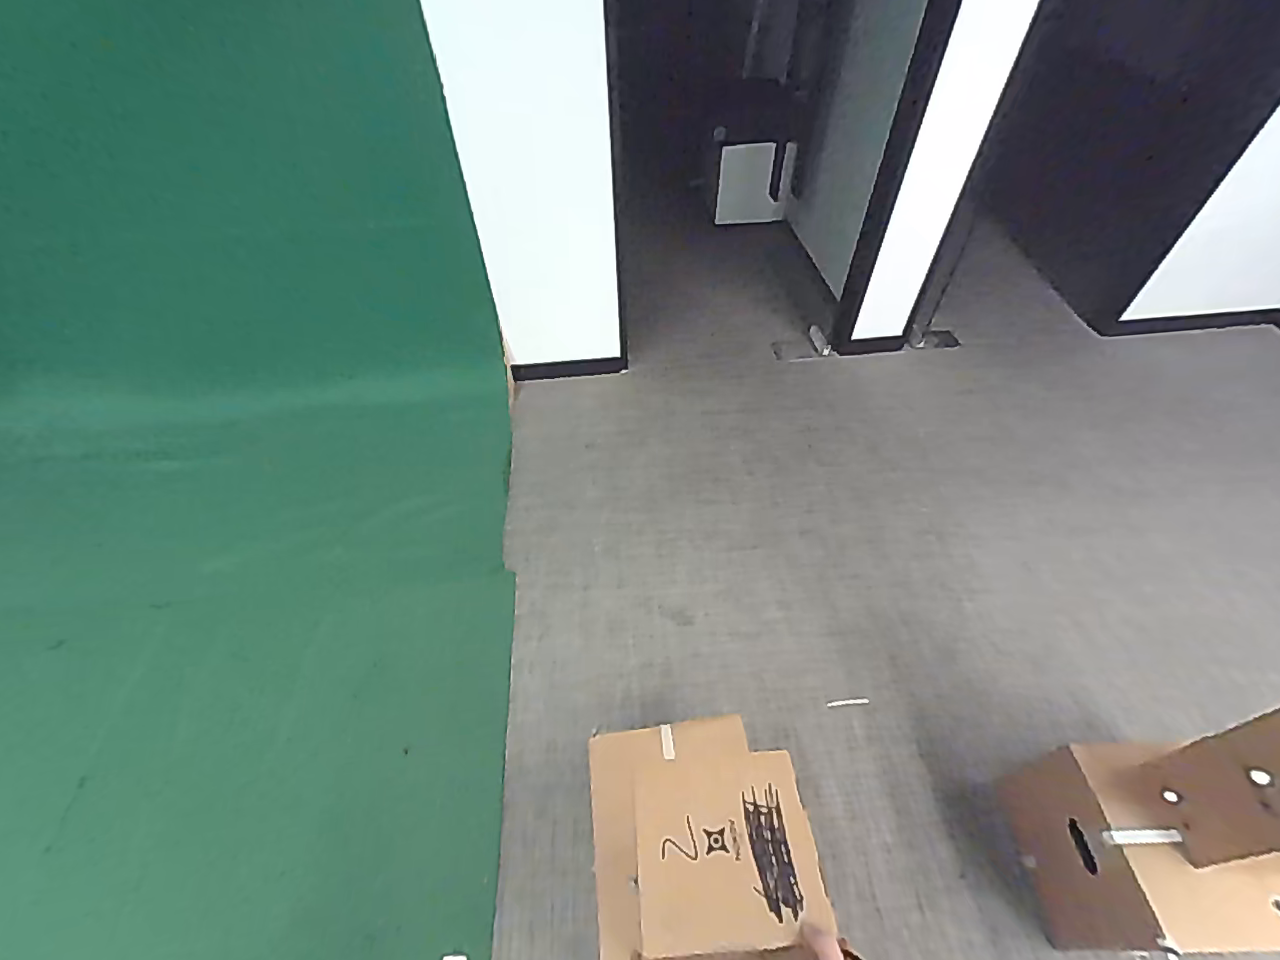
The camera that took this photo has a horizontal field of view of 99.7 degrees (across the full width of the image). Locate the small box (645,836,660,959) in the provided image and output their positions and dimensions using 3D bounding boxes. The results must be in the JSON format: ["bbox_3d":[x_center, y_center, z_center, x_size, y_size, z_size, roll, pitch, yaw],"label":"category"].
[{"bbox_3d":[0.098,0.653,0.826,0.168,0.176,0.179,-4,47,-3],"label":"small box"}]

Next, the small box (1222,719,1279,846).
[{"bbox_3d":[1.027,0.438,0.772,0.179,0.176,0.168,2,46,4],"label":"small box"}]

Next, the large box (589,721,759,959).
[{"bbox_3d":[0.081,0.751,1.065,0.320,0.320,0.408,-6,48,-4],"label":"large box"}]

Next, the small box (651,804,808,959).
[{"bbox_3d":[0.104,0.544,0.702,0.168,0.176,0.179,-4,47,-3],"label":"small box"}]

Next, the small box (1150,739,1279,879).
[{"bbox_3d":[1.027,0.547,0.896,0.179,0.176,0.168,1,47,3],"label":"small box"}]
